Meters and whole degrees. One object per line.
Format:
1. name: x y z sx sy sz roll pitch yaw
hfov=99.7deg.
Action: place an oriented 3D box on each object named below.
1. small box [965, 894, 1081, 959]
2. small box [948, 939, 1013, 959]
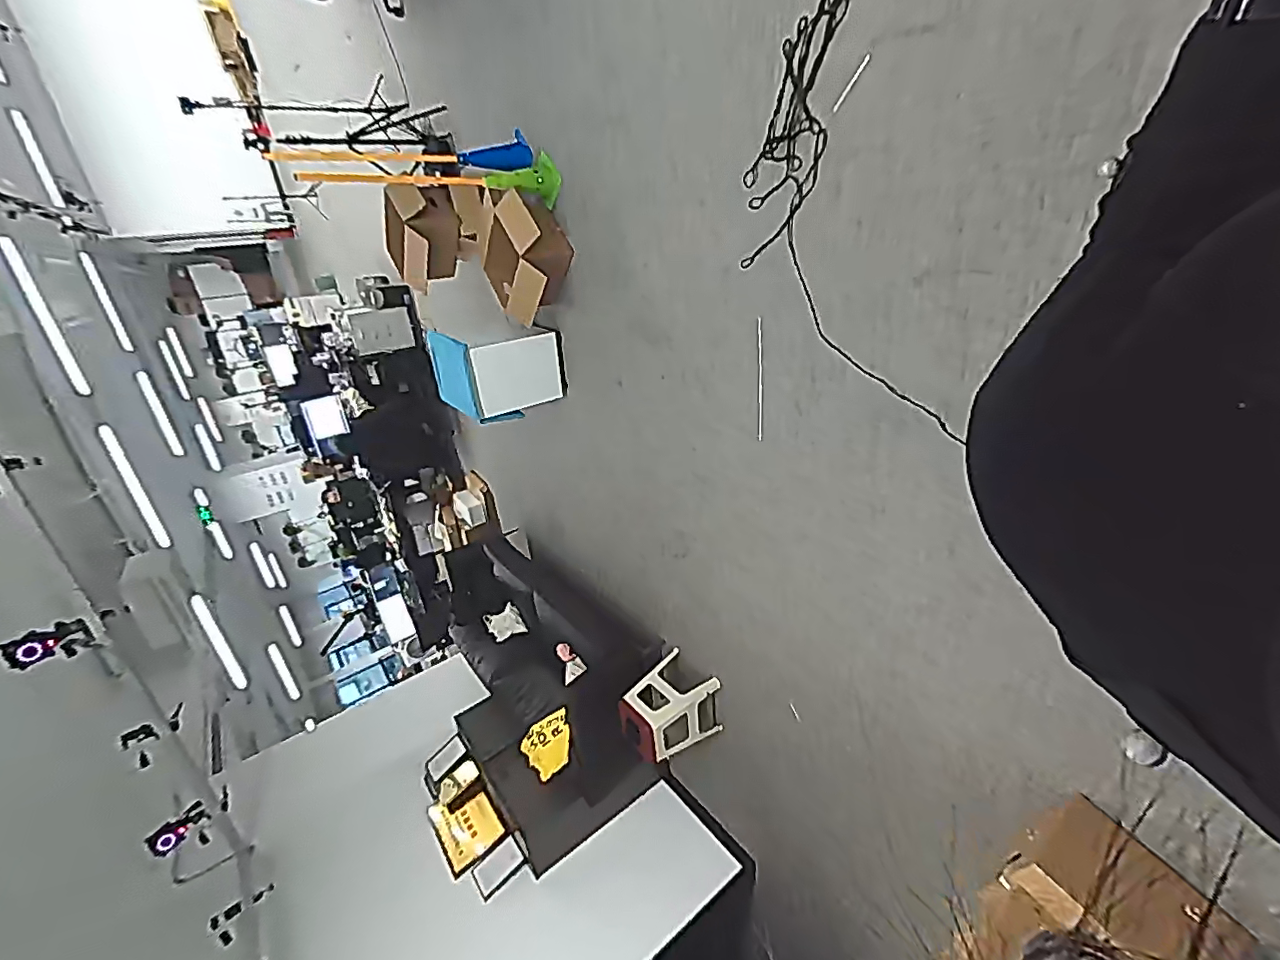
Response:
1. small box: 1.001 1.240 1.417 0.168 0.176 0.179 43 142 35
2. small box: 0.867 1.288 1.341 0.179 0.176 0.168 44 143 34
